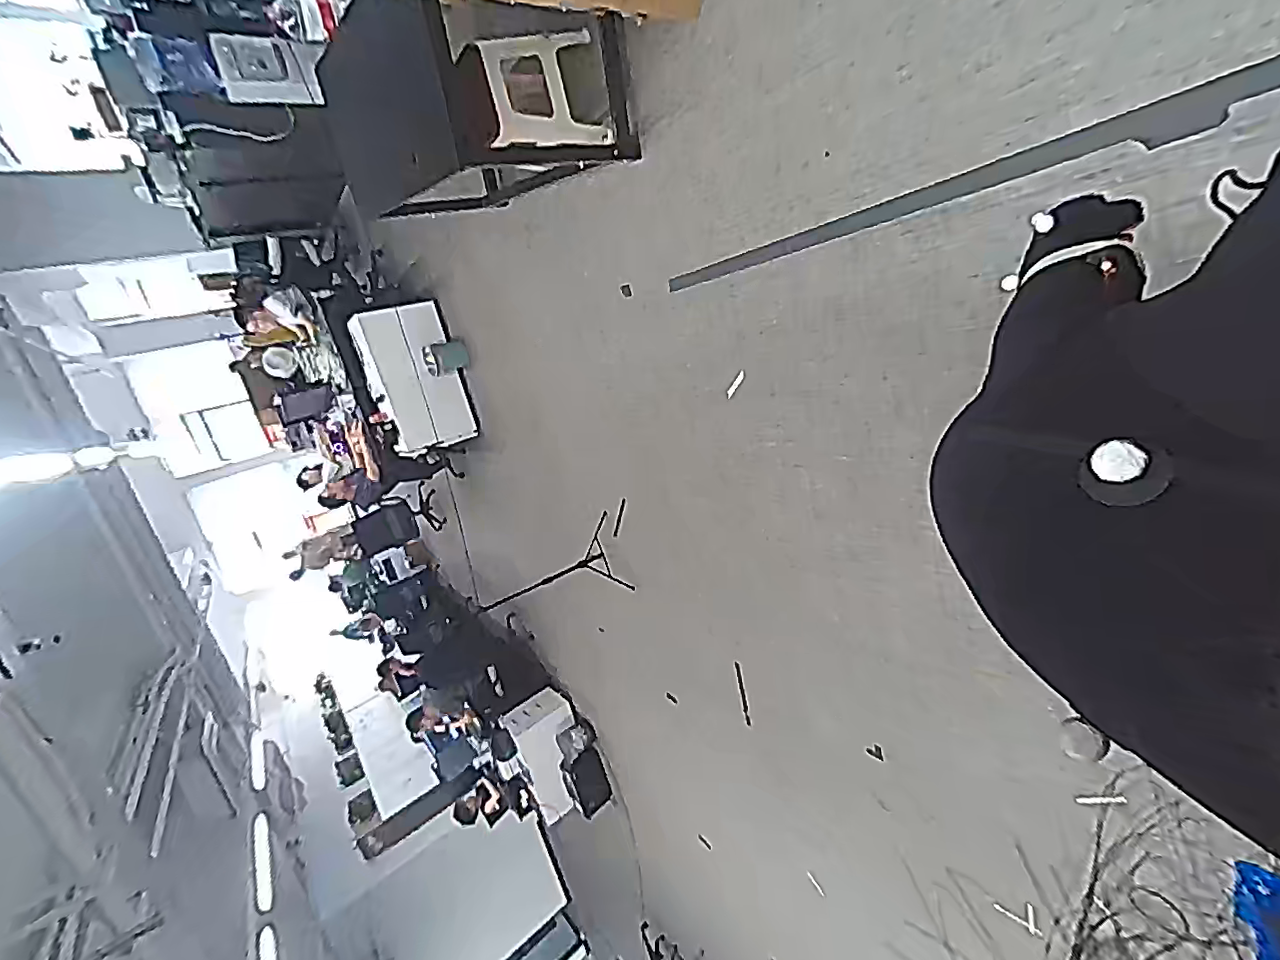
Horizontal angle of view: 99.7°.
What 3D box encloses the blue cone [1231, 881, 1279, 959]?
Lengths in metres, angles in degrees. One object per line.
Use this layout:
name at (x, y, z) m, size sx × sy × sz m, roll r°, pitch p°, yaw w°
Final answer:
blue cone at (1.395, 1.112, 1.173) m, size 0.193 × 0.380 × 0.192 m, roll 6°, pitch 116°, yaw 54°
